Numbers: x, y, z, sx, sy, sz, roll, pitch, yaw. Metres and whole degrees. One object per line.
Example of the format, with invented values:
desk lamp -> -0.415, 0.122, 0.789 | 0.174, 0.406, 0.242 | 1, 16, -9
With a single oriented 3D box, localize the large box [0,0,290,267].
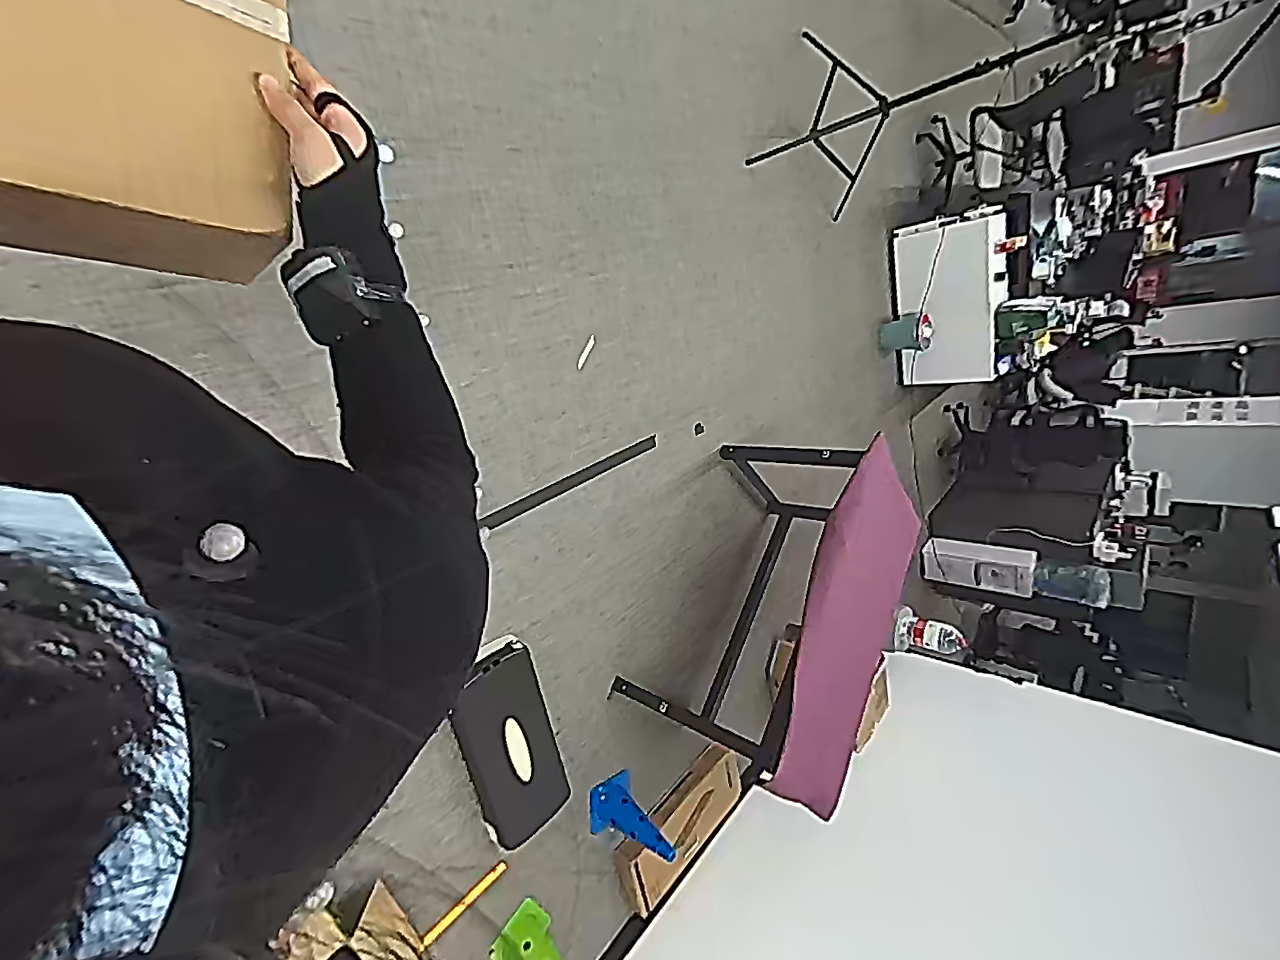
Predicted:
large box -> -0.534, -0.373, 0.415 | 0.408, 0.320, 0.320 | -4, 101, -41
